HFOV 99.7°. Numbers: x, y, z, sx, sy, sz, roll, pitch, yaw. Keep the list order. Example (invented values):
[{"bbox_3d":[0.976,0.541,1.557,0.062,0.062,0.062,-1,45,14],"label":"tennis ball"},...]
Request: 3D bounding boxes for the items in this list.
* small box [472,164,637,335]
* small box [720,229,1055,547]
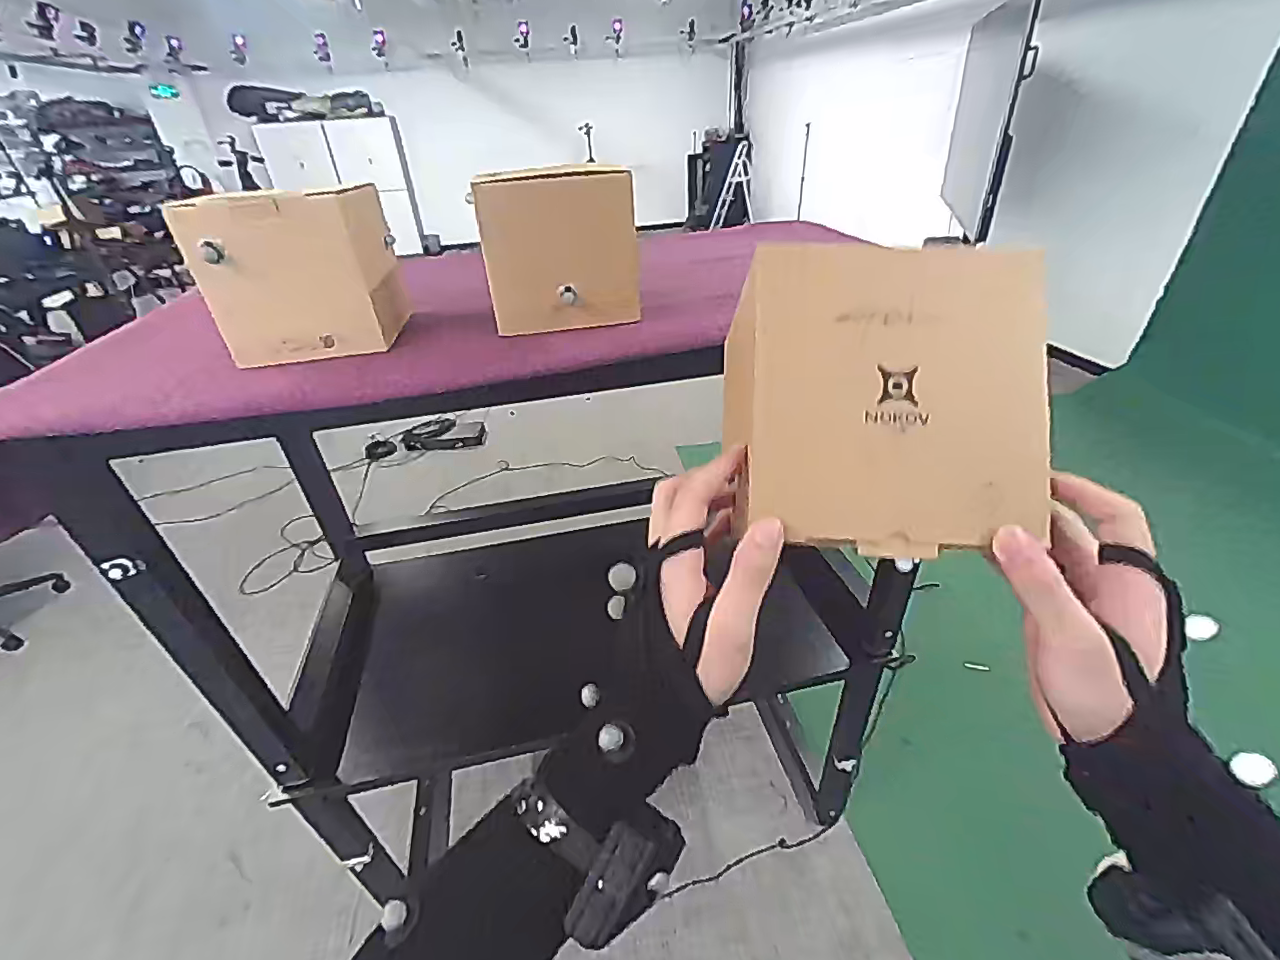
[{"bbox_3d":[-0.101,-0.292,0.680,0.179,0.176,0.168,-9,32,-8],"label":"small box"},{"bbox_3d":[0.149,-0.048,0.381,0.168,0.179,0.176,3,-5,3],"label":"small box"}]
